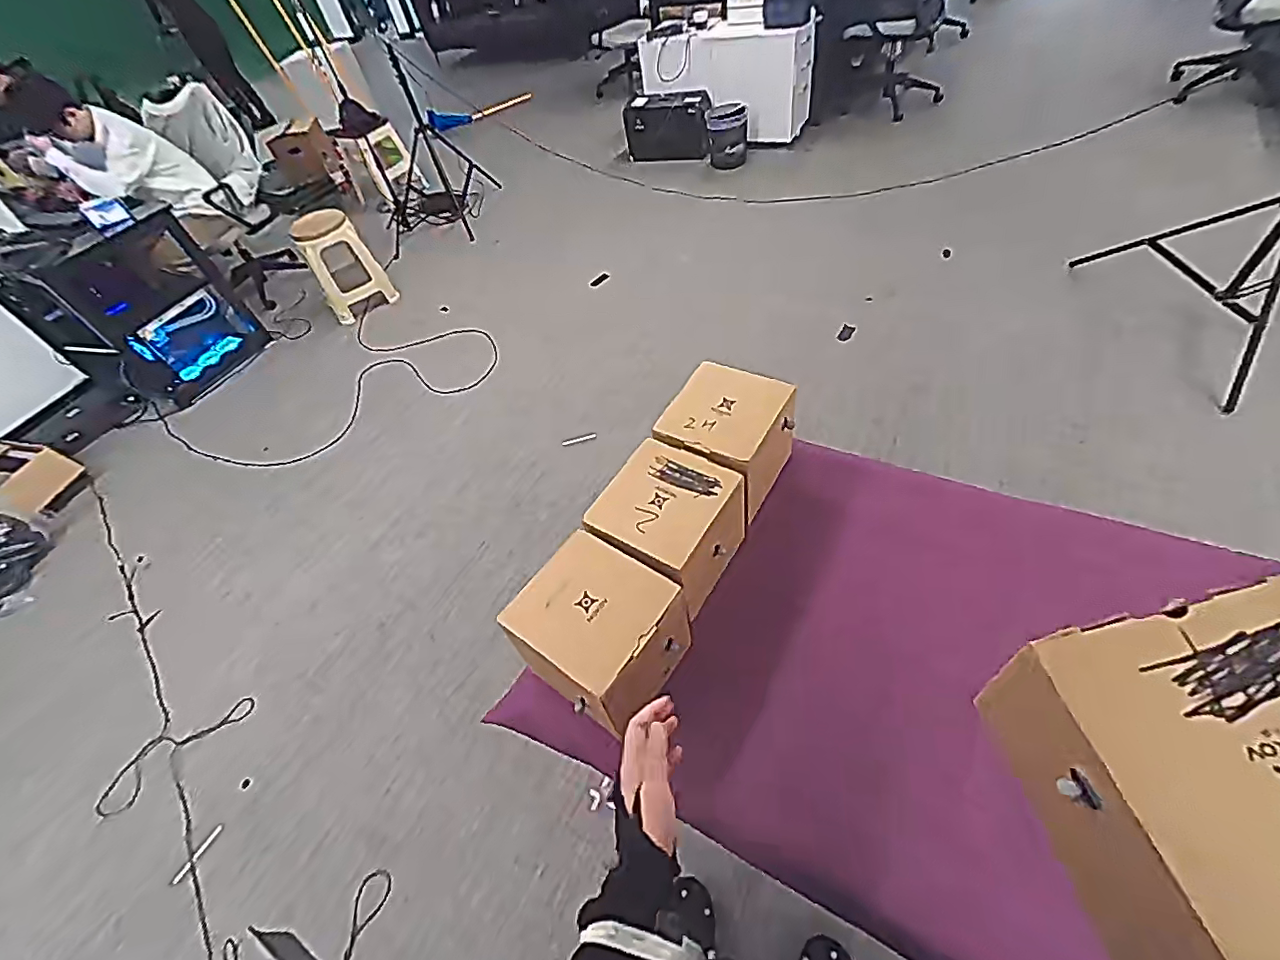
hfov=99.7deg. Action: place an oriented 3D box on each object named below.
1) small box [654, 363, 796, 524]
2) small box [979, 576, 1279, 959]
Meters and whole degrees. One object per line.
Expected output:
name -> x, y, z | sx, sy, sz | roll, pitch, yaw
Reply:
small box -> 0.143, -0.061, 0.903 | 0.168, 0.176, 0.179 | 23, 60, 26
small box -> 0.348, 0.187, 0.334 | 0.168, 0.176, 0.179 | -19, 54, 7
